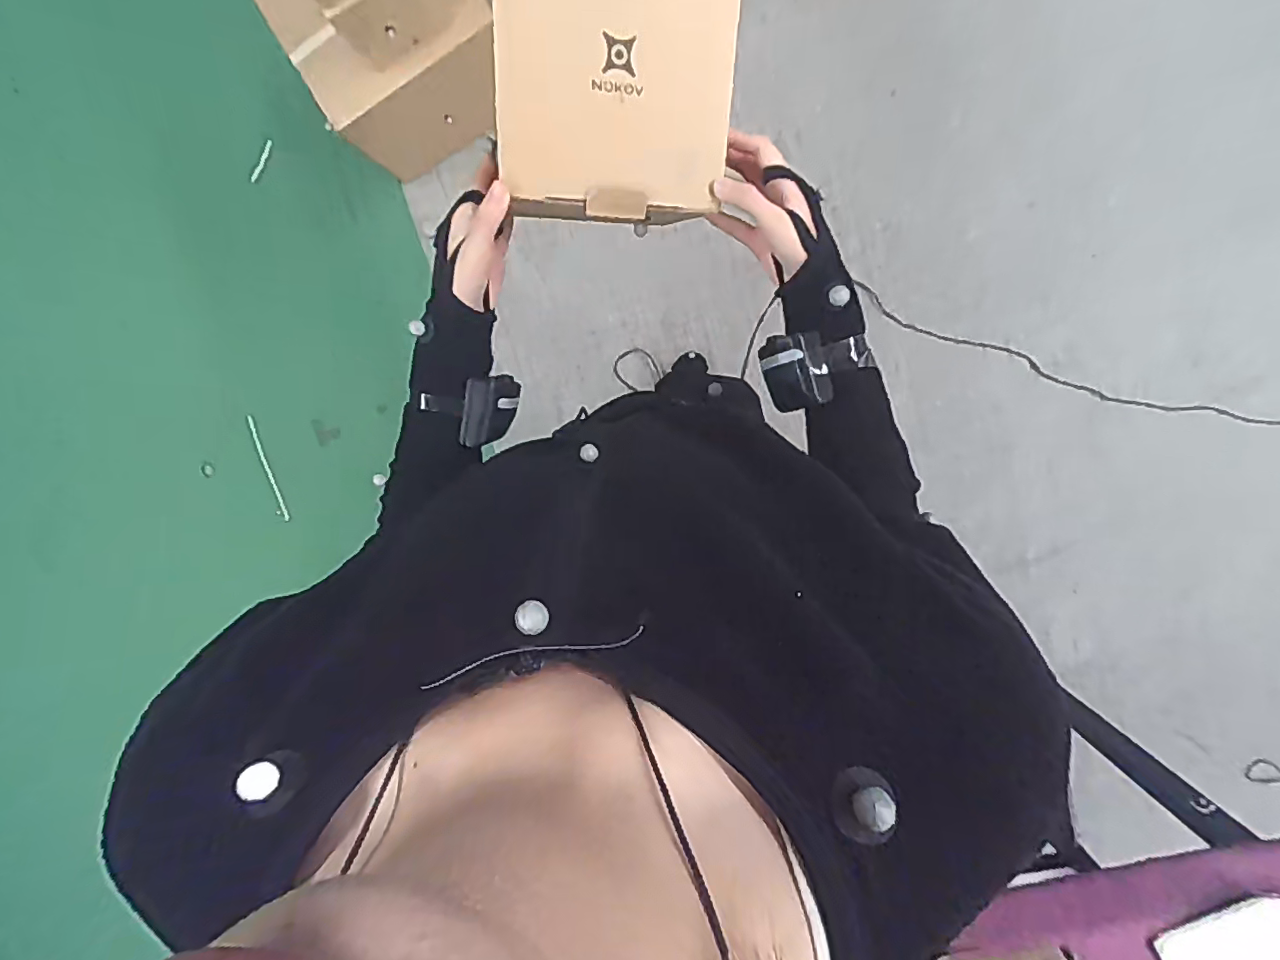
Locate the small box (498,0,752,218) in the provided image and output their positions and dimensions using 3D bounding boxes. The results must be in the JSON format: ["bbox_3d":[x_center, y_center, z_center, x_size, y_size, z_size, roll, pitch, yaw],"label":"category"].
[{"bbox_3d":[-0.026,-0.312,0.428,0.168,0.176,0.179,-2,113,-14],"label":"small box"}]

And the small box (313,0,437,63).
[{"bbox_3d":[-0.499,-0.904,0.974,0.168,0.176,0.179,-24,98,6],"label":"small box"}]

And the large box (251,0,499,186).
[{"bbox_3d":[-0.526,-0.959,1.215,0.408,0.320,0.320,-30,96,8],"label":"large box"}]
